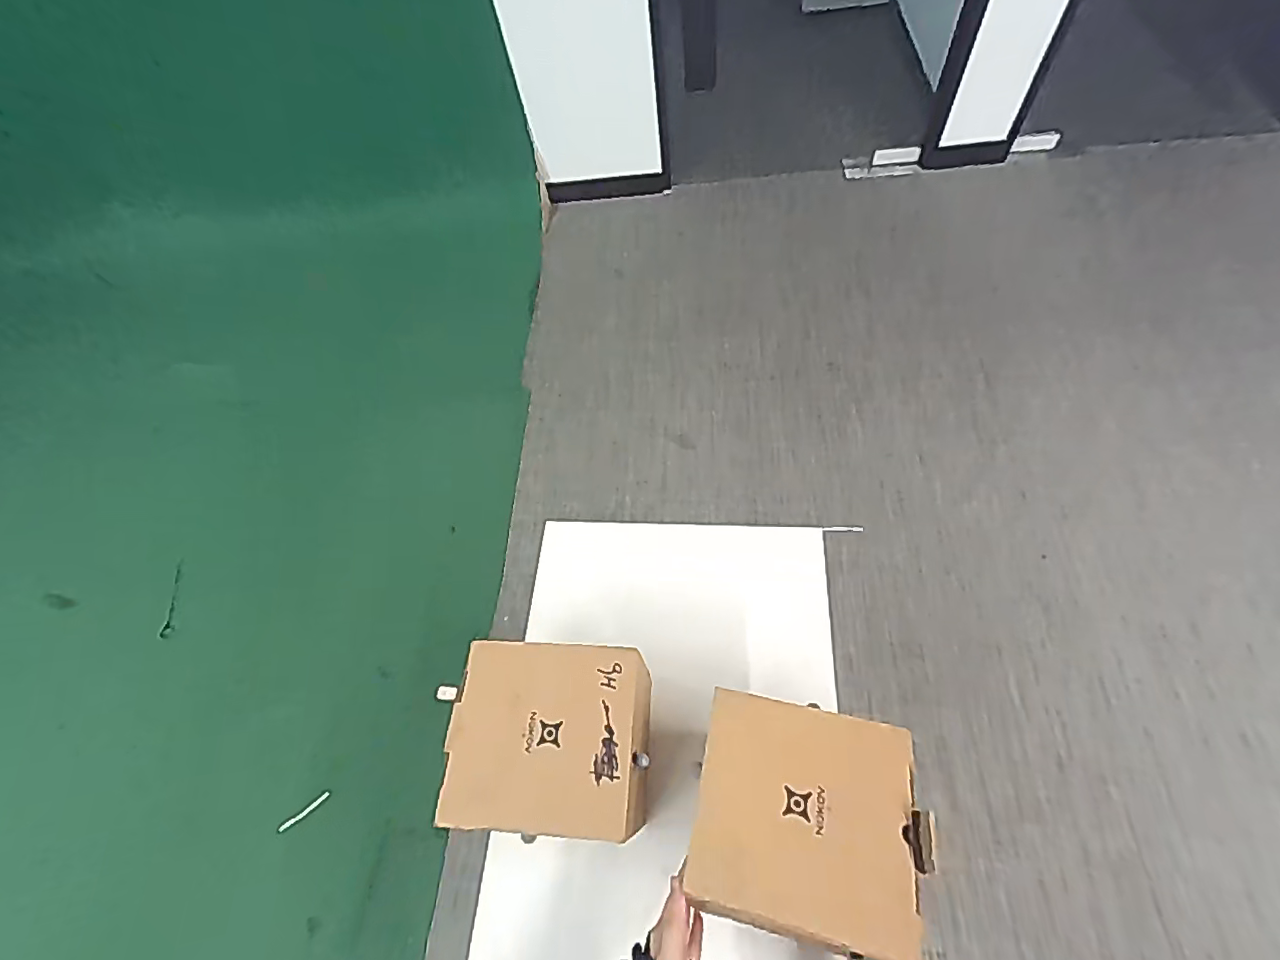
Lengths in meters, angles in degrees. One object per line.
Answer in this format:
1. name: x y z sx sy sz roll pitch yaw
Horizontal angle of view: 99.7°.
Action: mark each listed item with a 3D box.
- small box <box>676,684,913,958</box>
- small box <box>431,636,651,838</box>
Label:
1. small box: 0.138 0.319 0.510 0.179 0.176 0.168 8 52 13
2. small box: -0.088 0.271 0.579 0.179 0.176 0.168 0 62 7
